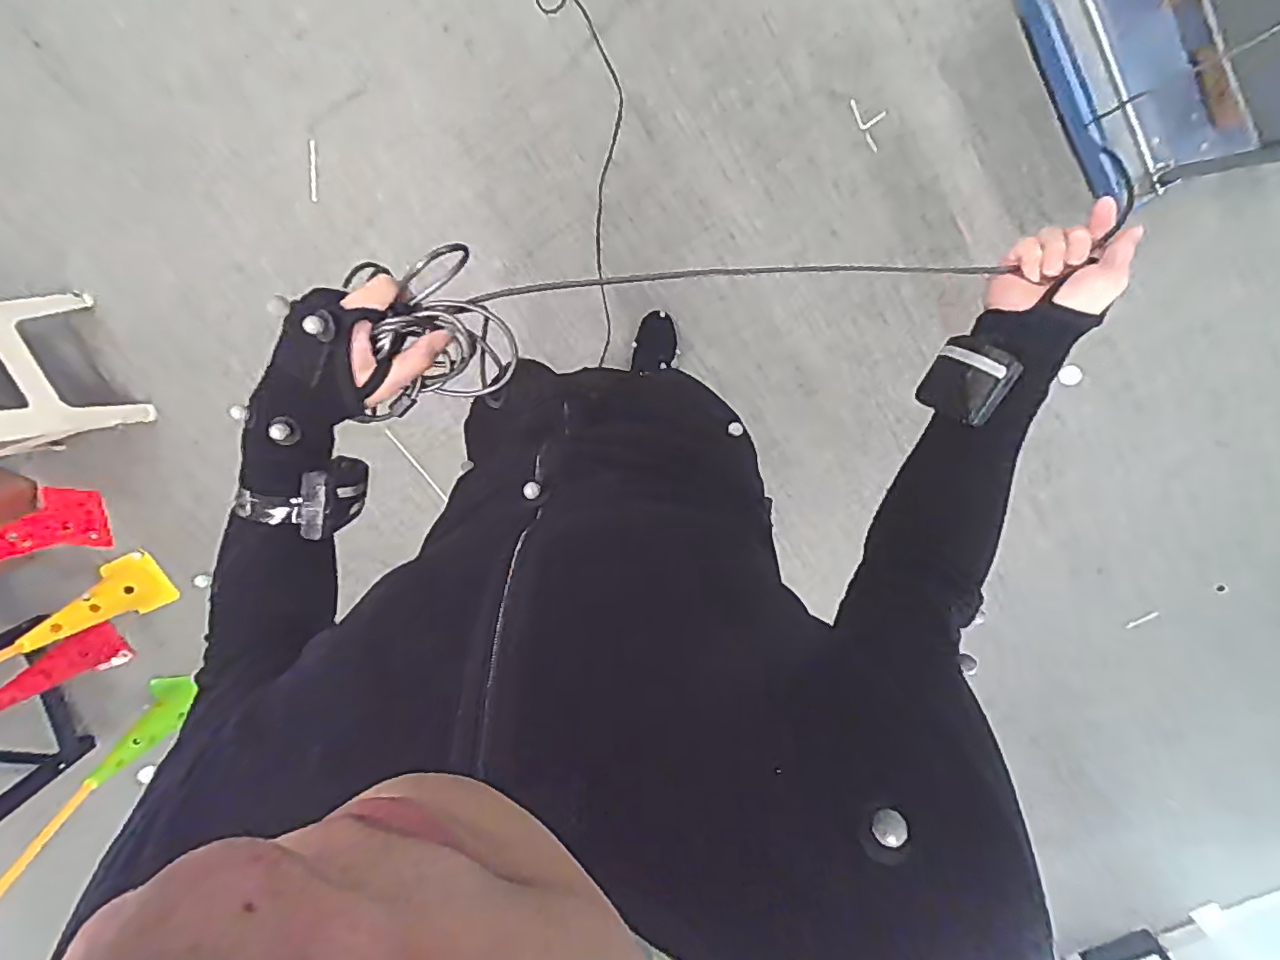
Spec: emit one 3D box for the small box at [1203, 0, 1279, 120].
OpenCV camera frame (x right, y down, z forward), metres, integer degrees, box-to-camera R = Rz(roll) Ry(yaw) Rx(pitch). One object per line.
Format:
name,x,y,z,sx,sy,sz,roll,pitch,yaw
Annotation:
small box,1.256,-0.835,1.029,0.179,0.176,0.168,-32,104,13
